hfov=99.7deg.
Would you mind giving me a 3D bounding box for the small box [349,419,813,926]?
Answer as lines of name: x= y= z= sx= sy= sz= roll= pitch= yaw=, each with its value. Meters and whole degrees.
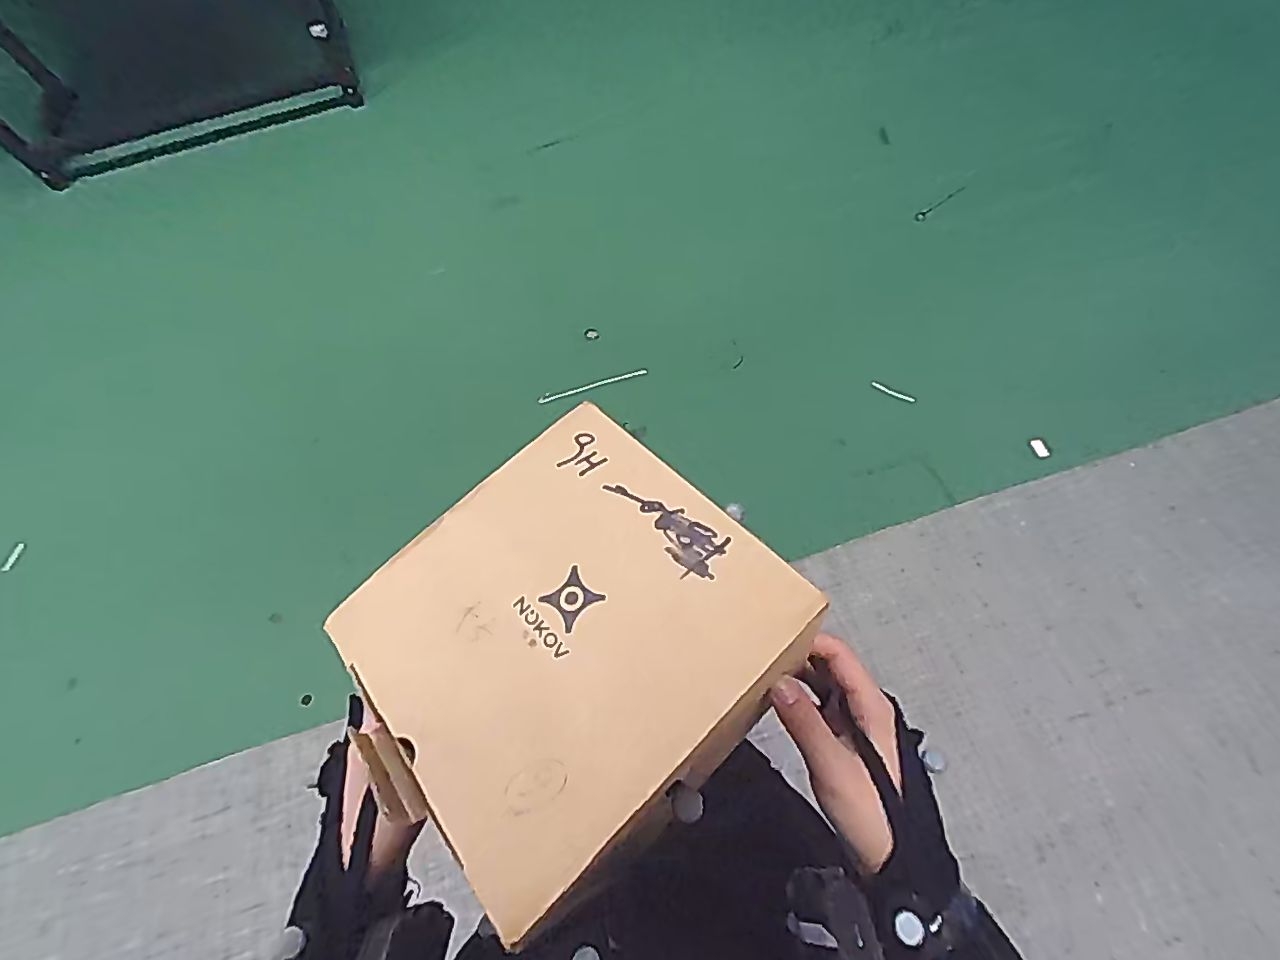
small box: x=-0.021 y=0.105 z=0.325 sx=0.179 sy=0.176 sz=0.168 roll=-43 pitch=62 yaw=-13
